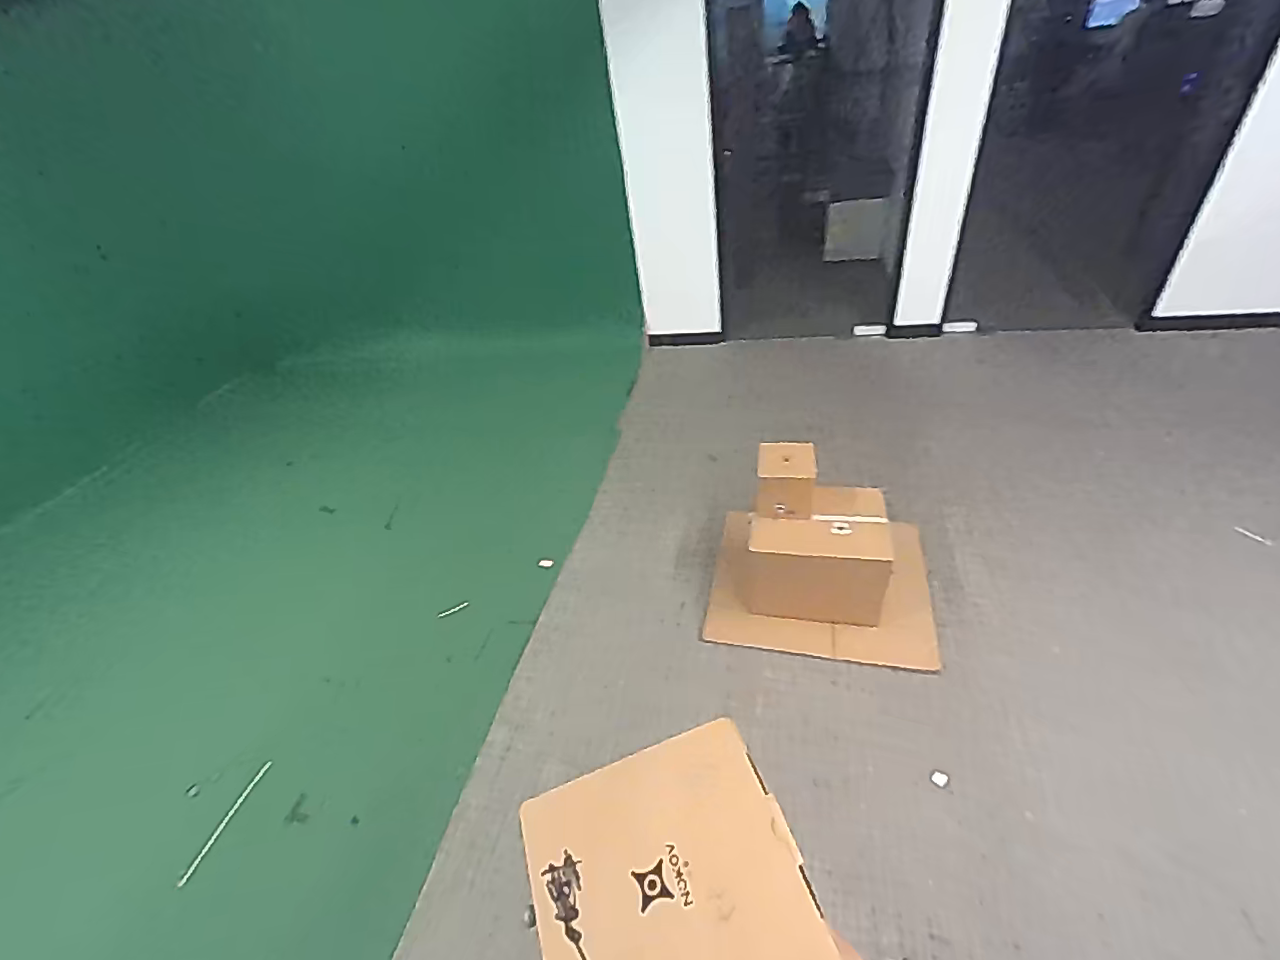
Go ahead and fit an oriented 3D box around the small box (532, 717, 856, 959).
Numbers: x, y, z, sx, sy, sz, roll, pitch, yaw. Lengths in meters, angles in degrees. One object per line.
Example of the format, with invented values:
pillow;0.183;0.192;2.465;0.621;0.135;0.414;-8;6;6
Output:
small box;0.033;0.317;0.412;0.179;0.176;0.168;-17;43;-8

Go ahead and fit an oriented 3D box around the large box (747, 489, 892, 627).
large box;0.556;0.249;1.755;0.408;0.320;0.320;3;41;14

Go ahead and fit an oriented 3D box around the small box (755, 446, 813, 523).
small box;0.445;0.013;1.680;0.168;0.176;0.179;1;39;13
